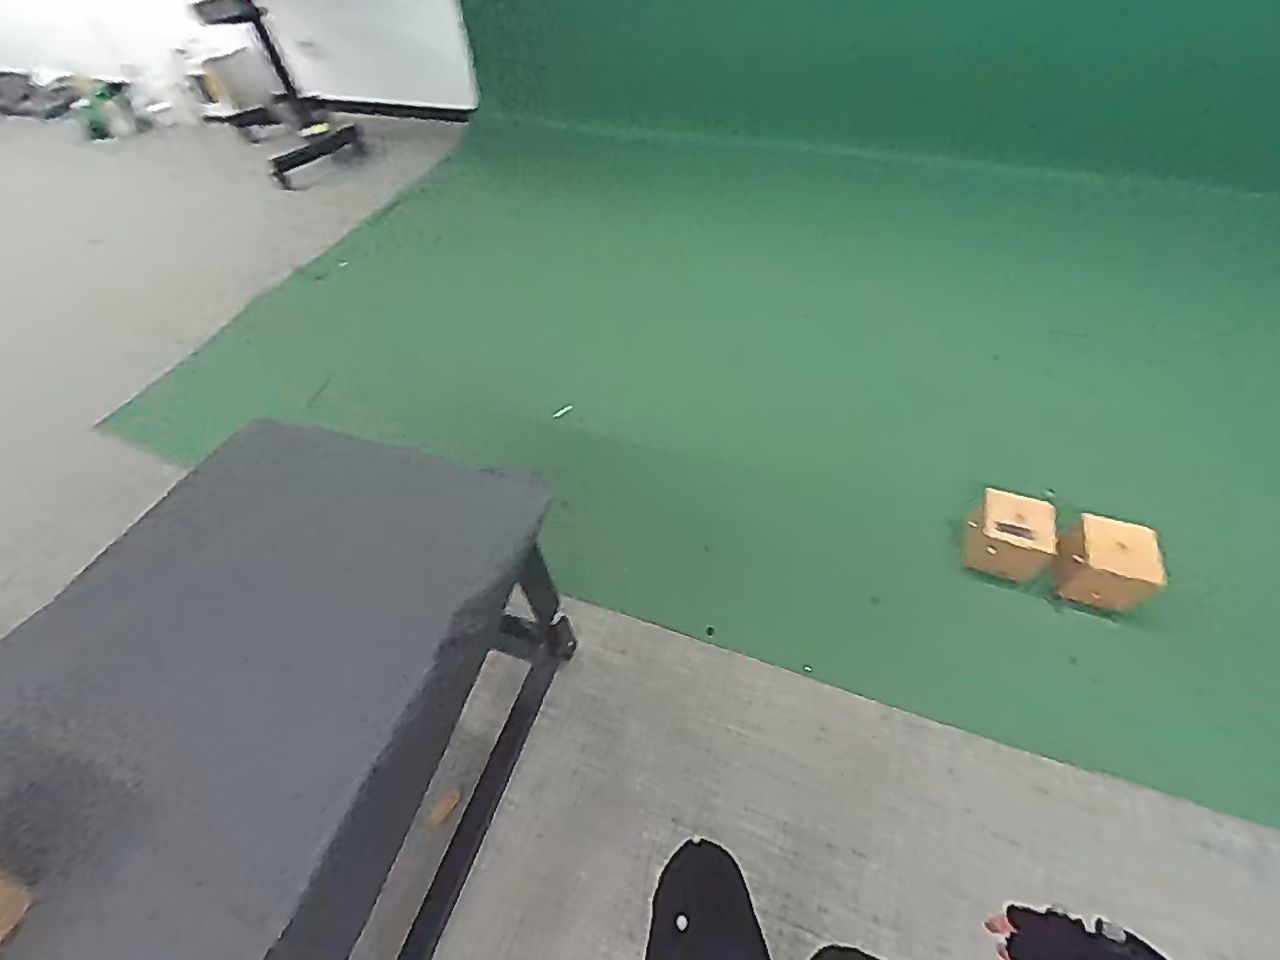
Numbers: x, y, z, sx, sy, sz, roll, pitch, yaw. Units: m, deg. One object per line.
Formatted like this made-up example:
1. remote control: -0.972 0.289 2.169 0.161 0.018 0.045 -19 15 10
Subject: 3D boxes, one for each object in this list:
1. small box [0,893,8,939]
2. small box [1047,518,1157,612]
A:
1. small box: -0.804 0.479 0.526 0.168 0.176 0.179 16 55 14
2. small box: 1.265 0.237 1.498 0.168 0.176 0.179 14 56 13
